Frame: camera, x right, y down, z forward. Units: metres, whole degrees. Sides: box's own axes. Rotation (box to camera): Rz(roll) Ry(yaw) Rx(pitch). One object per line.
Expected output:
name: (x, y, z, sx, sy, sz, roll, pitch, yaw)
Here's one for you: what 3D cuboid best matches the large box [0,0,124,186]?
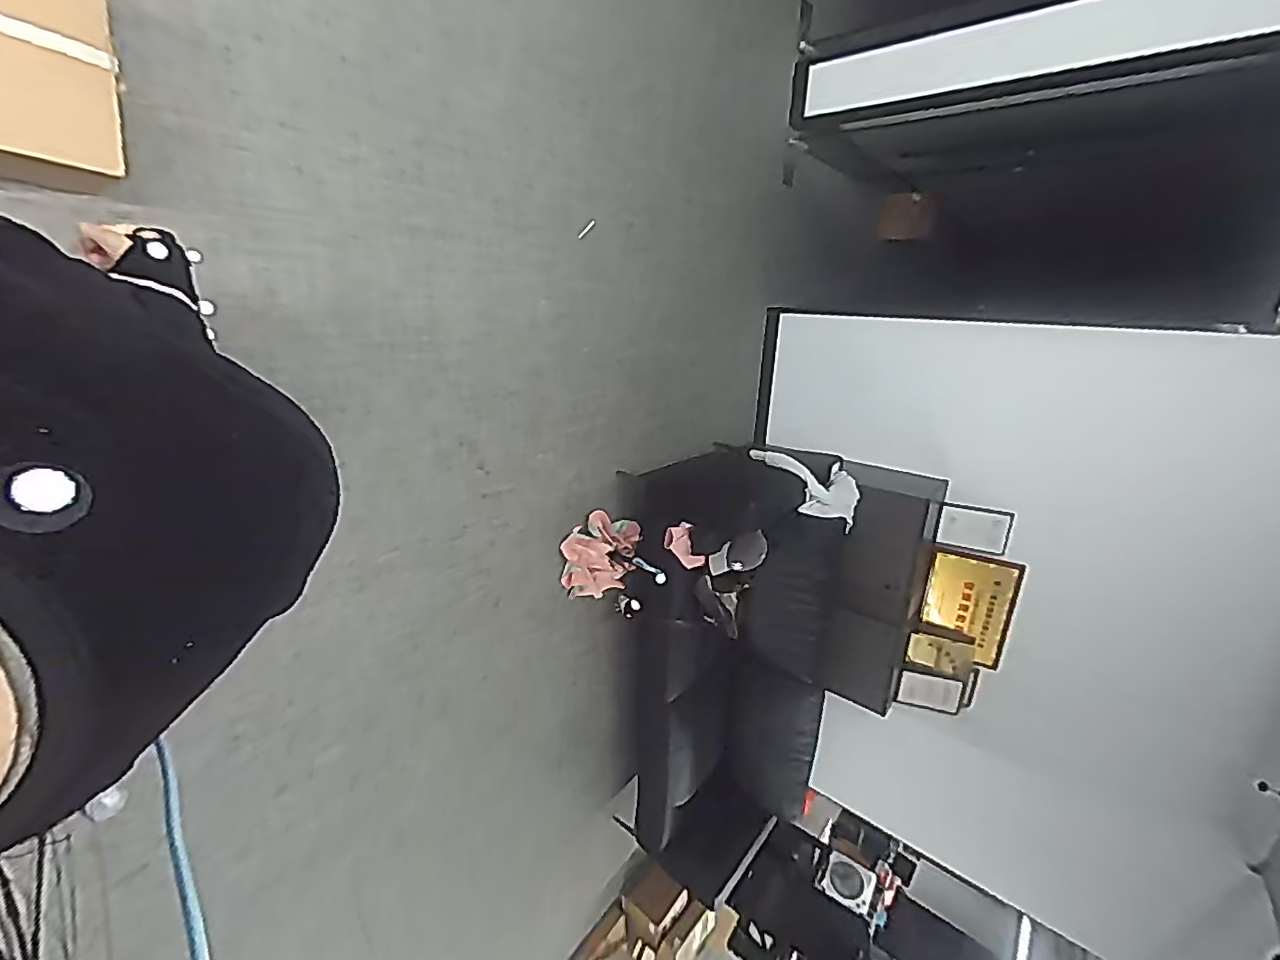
large box: (-1.040, -0.641, 0.760, 0.408, 0.320, 0.320, -10, 111, -50)
